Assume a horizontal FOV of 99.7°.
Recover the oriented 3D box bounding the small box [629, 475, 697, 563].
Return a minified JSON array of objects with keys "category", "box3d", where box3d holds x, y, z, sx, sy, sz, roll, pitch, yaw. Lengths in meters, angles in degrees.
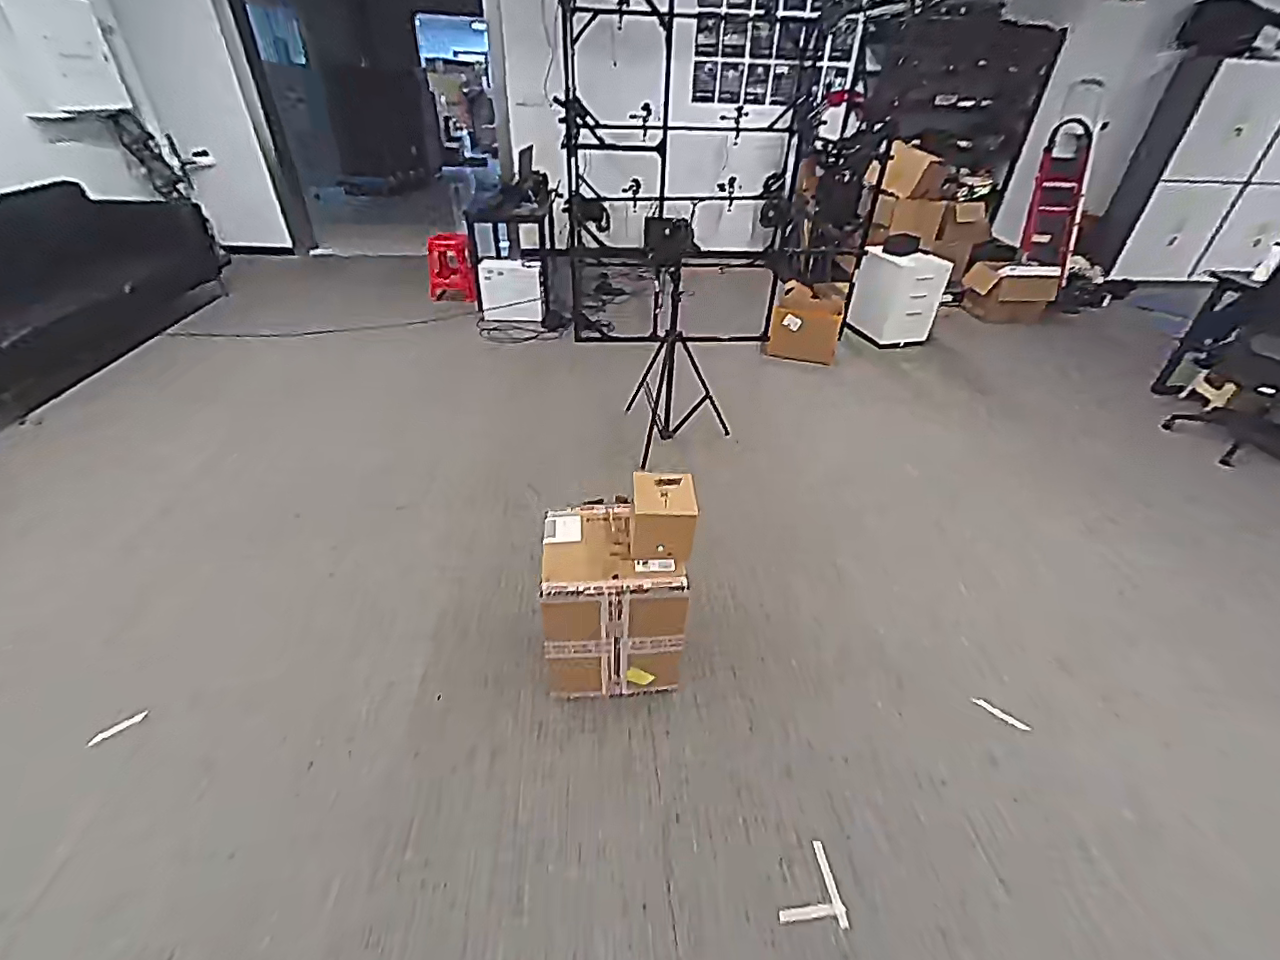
[{"category":"small box","box3d":[0.057,0.106,1.493,0.168,0.176,0.179,1,38,-5]}]
